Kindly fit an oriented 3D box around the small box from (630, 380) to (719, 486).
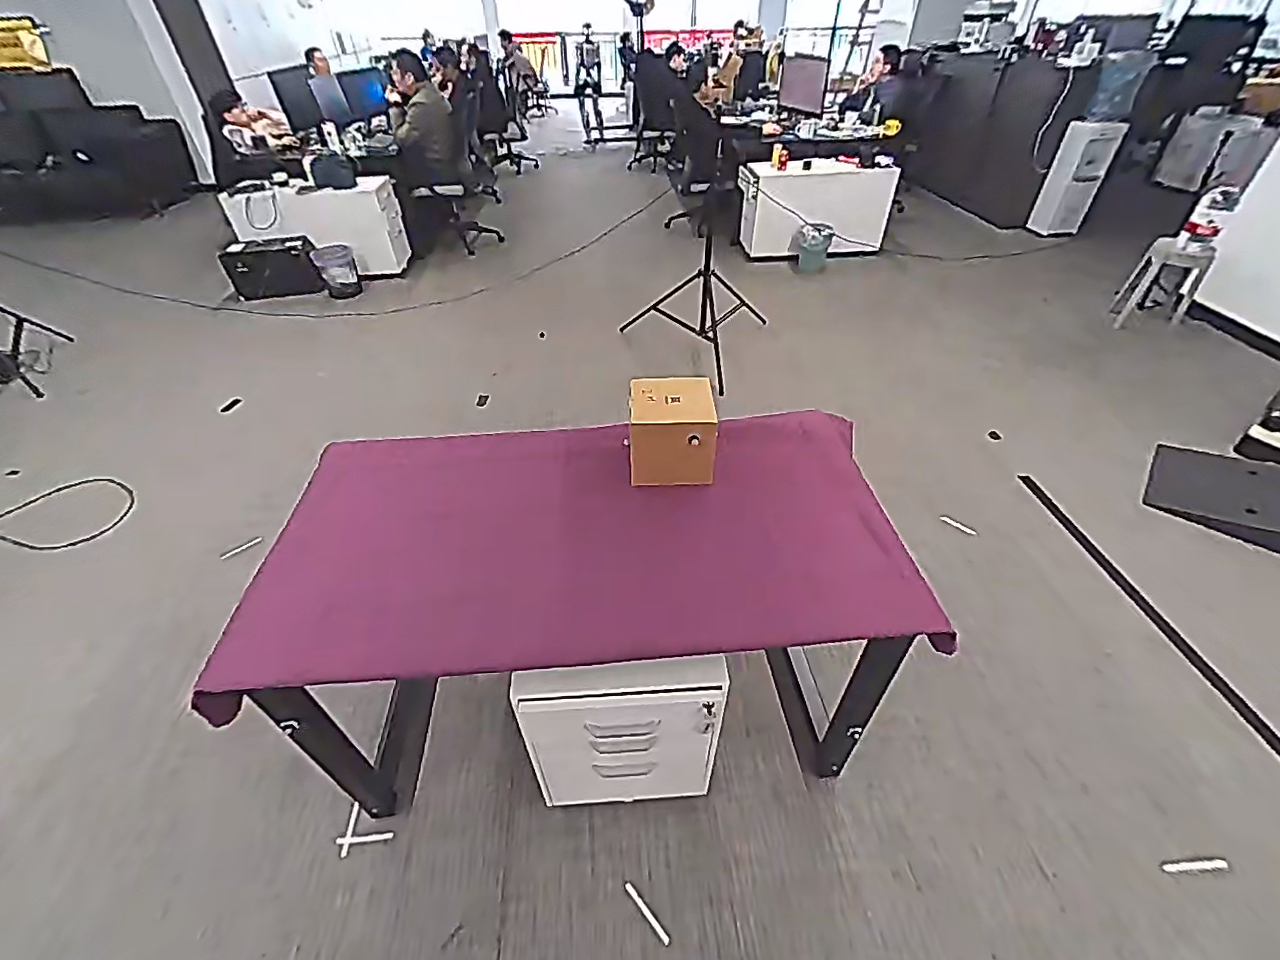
[{"bbox_3d":[0.068,-0.101,1.172,0.179,0.176,0.168,-2,42,0],"label":"small box"}]
